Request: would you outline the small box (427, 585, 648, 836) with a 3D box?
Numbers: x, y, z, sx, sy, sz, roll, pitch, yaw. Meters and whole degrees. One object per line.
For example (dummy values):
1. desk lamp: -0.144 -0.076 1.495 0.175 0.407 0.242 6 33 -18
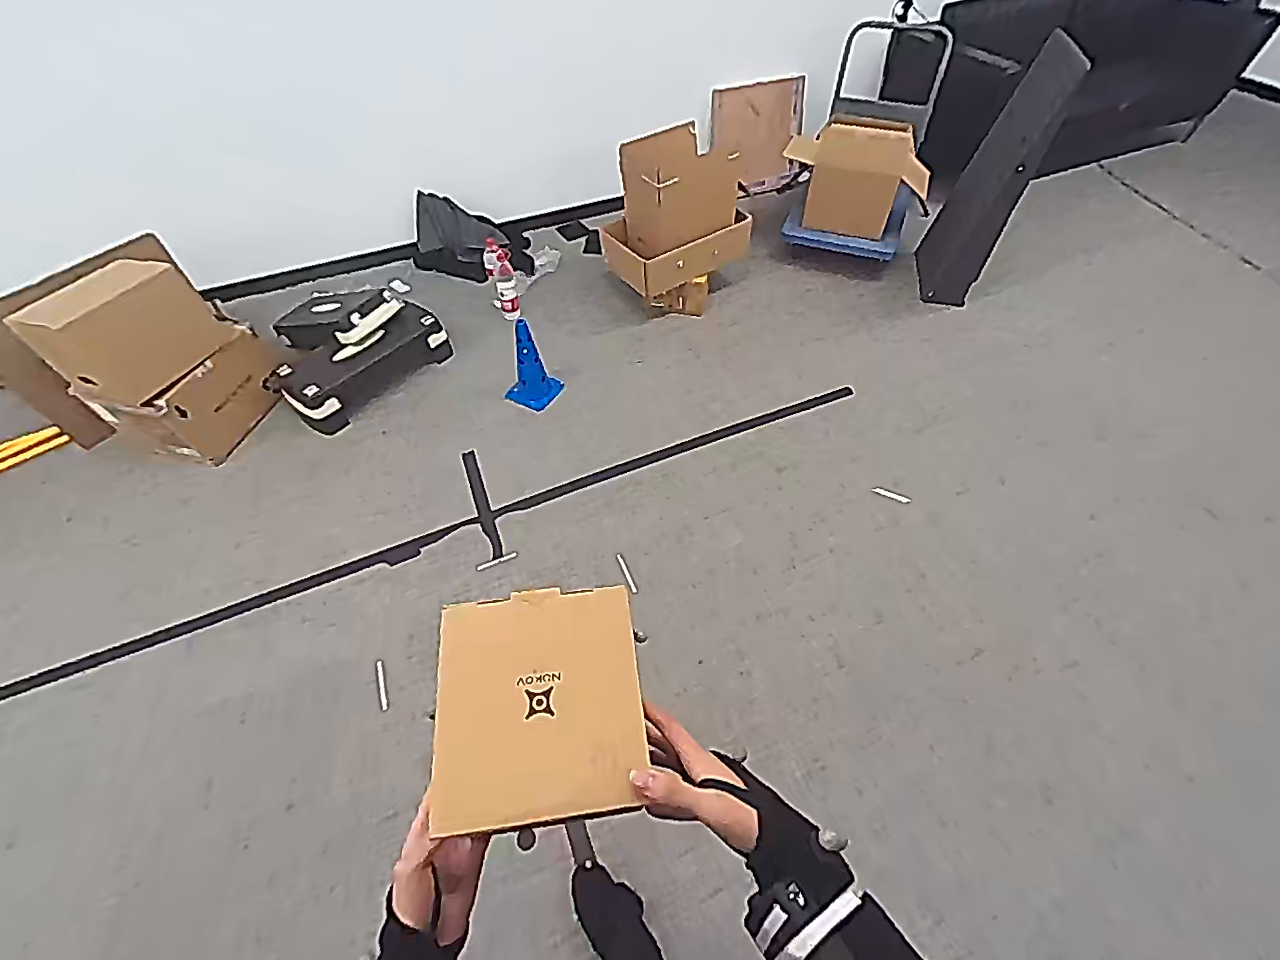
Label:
1. small box: -0.086 0.218 0.505 0.168 0.176 0.179 -5 56 -7
